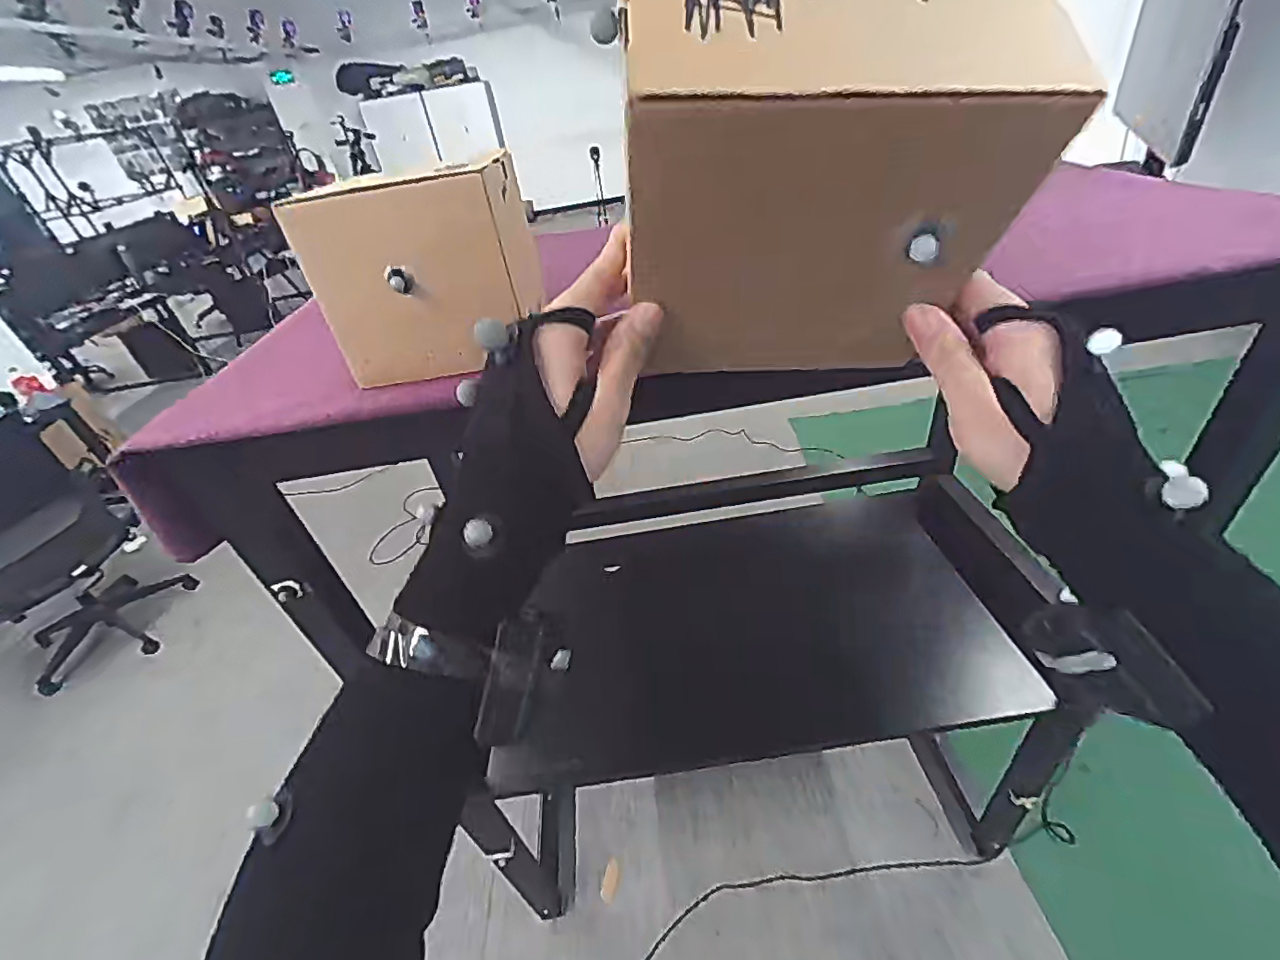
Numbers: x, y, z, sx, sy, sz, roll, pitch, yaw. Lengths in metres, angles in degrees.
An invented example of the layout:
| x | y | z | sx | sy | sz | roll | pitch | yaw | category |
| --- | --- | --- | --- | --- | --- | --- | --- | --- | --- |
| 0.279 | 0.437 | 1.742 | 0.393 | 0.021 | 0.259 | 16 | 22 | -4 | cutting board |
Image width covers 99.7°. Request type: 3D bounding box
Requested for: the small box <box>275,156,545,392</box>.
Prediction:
| x | y | z | sx | sy | sz | roll | pitch | yaw | category |
| --- | --- | --- | --- | --- | --- | --- | --- | --- | --- |
| -0.201 | -0.206 | 0.541 | 0.179 | 0.176 | 0.168 | -9 | 35 | 3 | small box |
